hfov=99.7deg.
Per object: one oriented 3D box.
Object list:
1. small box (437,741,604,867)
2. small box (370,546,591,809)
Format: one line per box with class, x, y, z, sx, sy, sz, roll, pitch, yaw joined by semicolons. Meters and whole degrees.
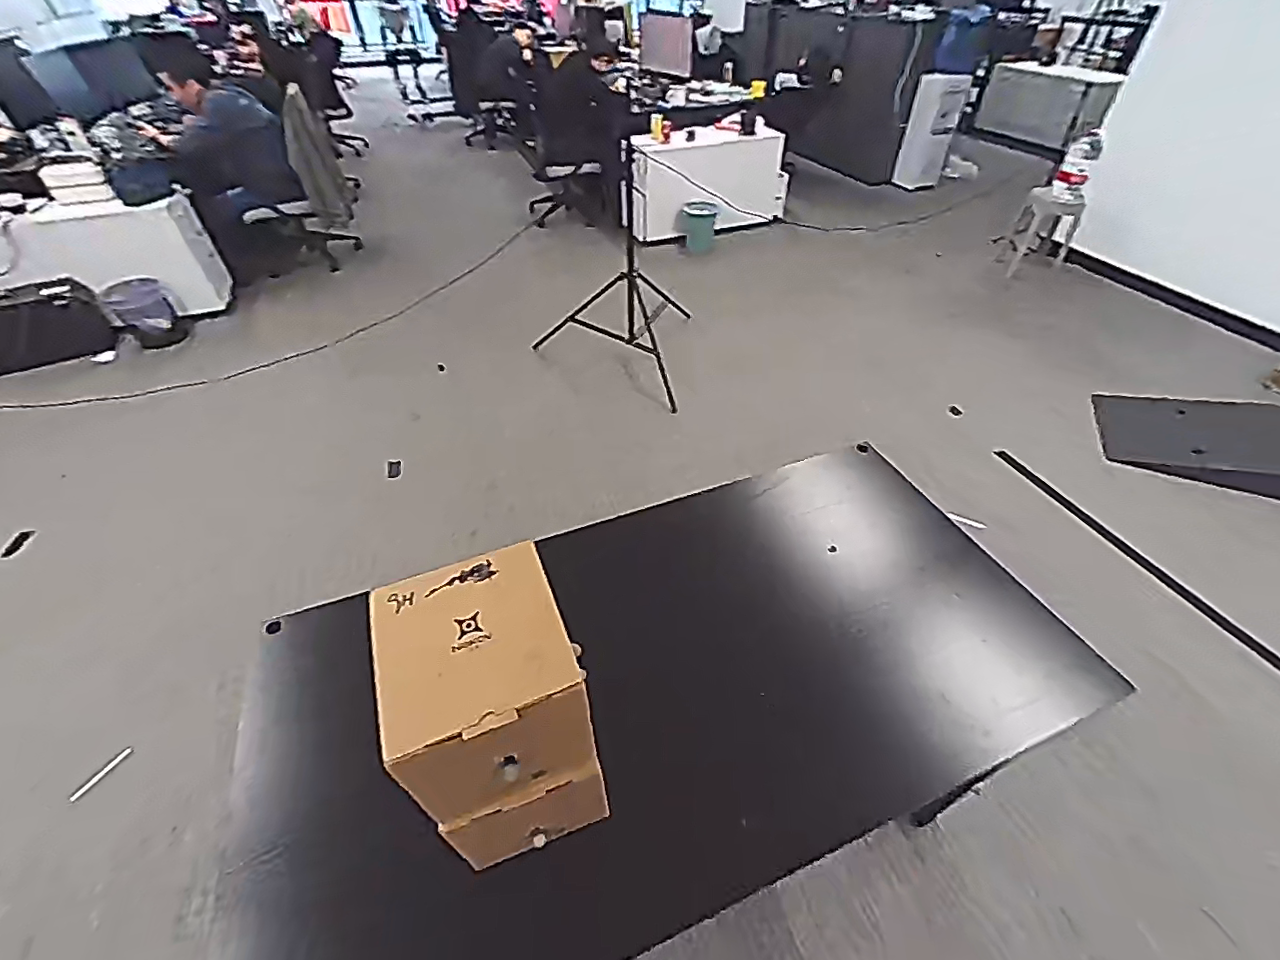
small box;-0.147;0.326;0.657;0.168;0.176;0.179;-15;46;-14
small box;-0.154;0.203;0.548;0.168;0.176;0.179;-17;47;-16
